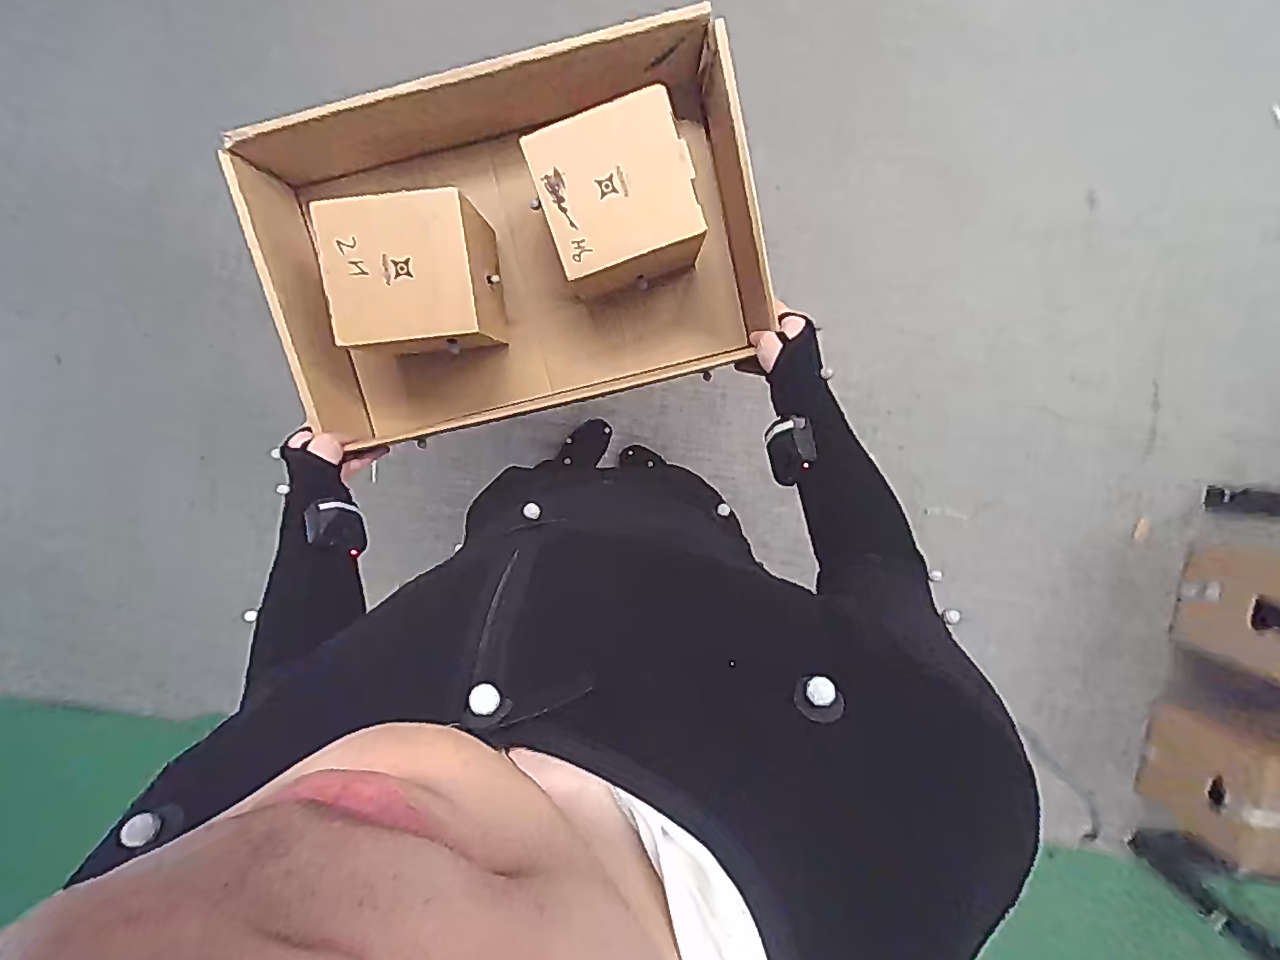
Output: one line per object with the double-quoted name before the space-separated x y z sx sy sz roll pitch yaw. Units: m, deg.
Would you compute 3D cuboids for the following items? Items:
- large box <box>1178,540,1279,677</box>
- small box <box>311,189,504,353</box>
"large box" 1.830 0.360 1.474 0.408 0.320 0.320 7 96 0
"small box" -0.284 -0.259 0.705 0.179 0.176 0.168 -4 99 1
